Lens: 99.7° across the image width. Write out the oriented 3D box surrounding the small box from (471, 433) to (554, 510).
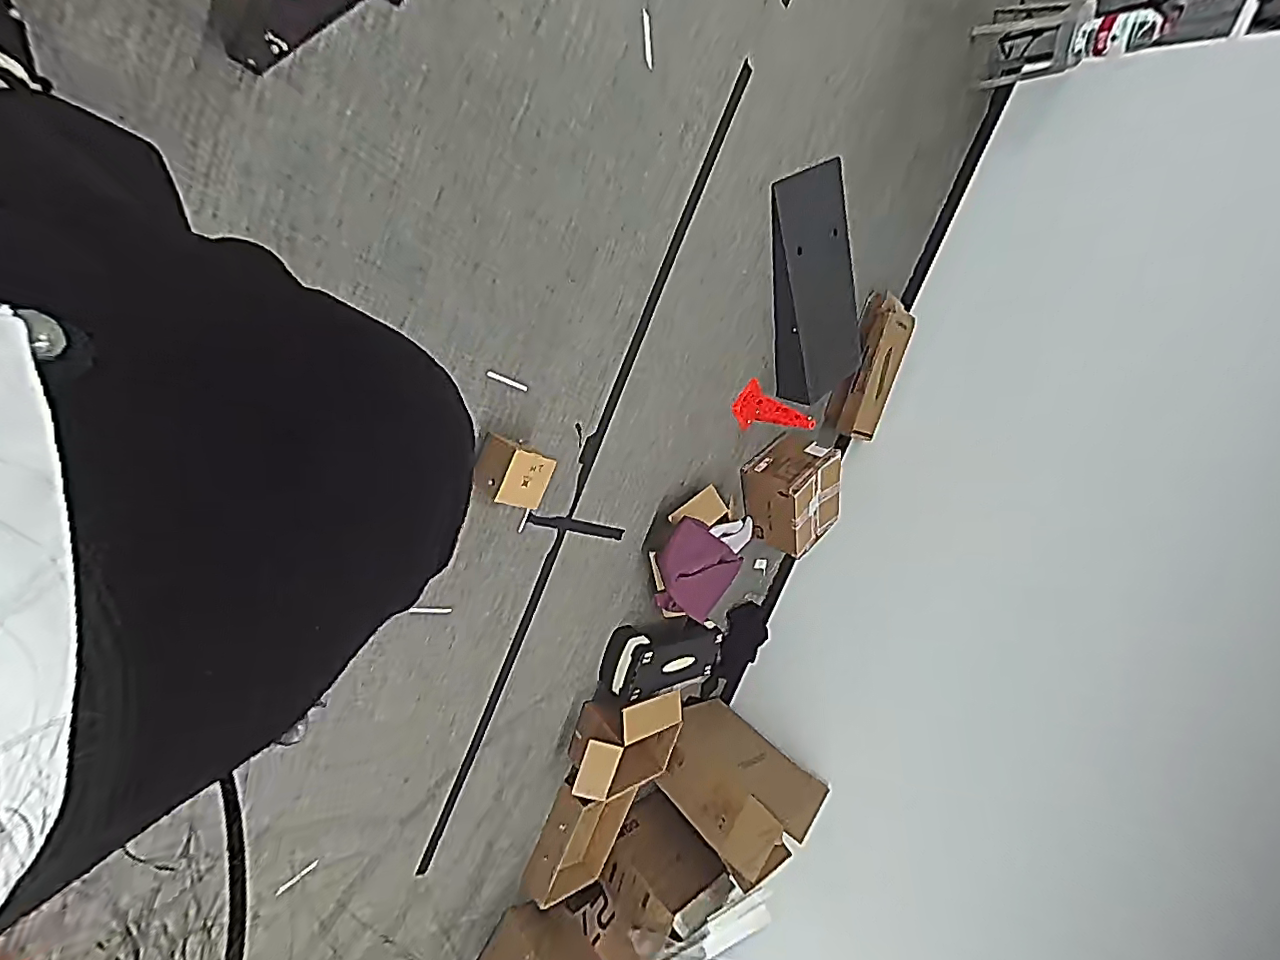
[{"bbox_3d":[-0.411,-0.028,1.715,0.168,0.176,0.179,19,97,-49],"label":"small box"}]
